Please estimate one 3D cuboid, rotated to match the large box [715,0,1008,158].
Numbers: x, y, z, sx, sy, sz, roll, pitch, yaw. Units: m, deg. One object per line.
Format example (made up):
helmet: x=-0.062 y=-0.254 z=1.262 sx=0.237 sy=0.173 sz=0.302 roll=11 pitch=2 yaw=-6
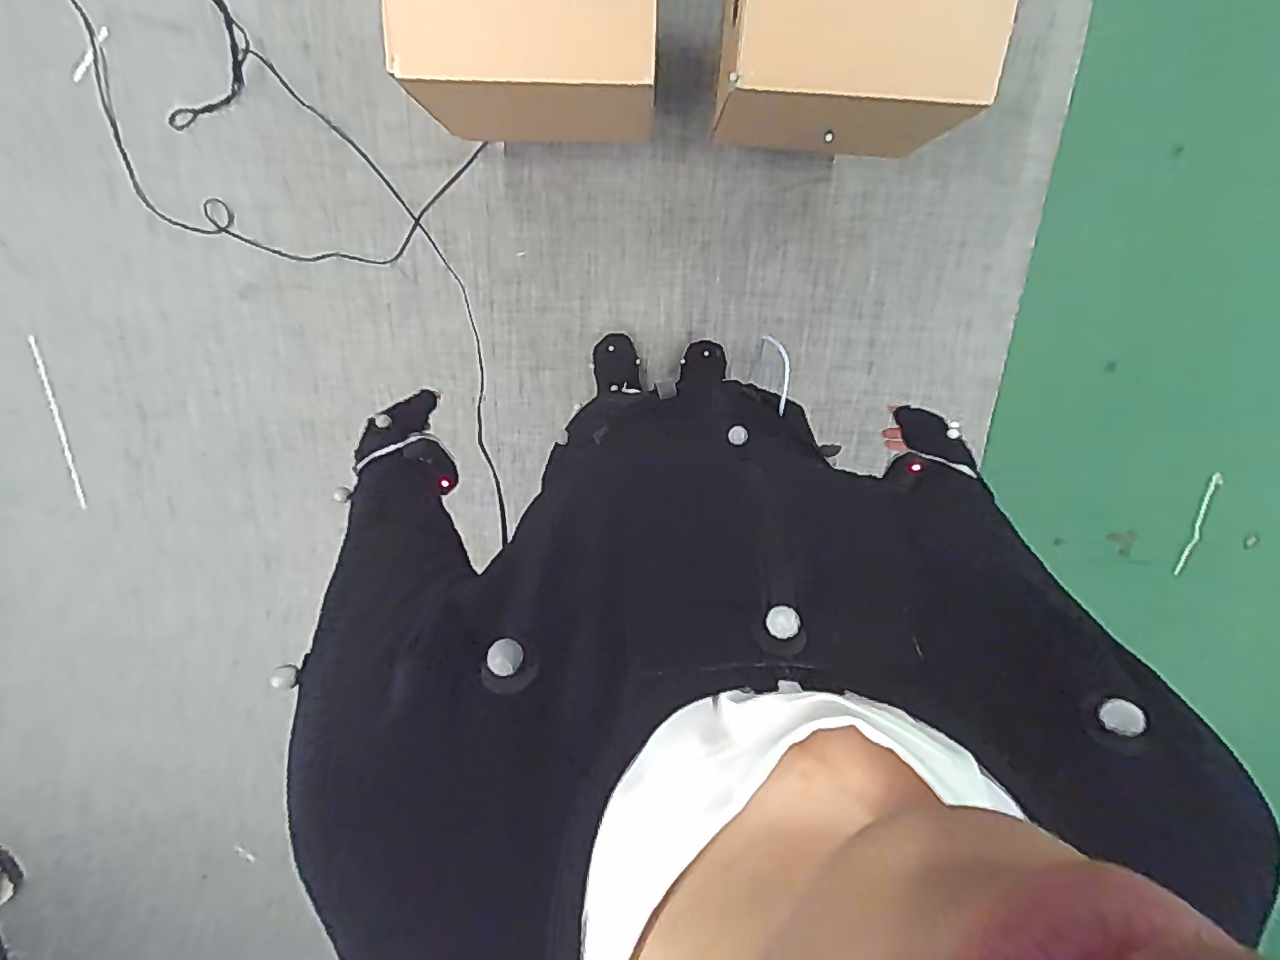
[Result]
large box: x=0.362 y=-0.783 z=0.951 sx=0.408 sy=0.320 sz=0.320 roll=4 pitch=107 yaw=0
